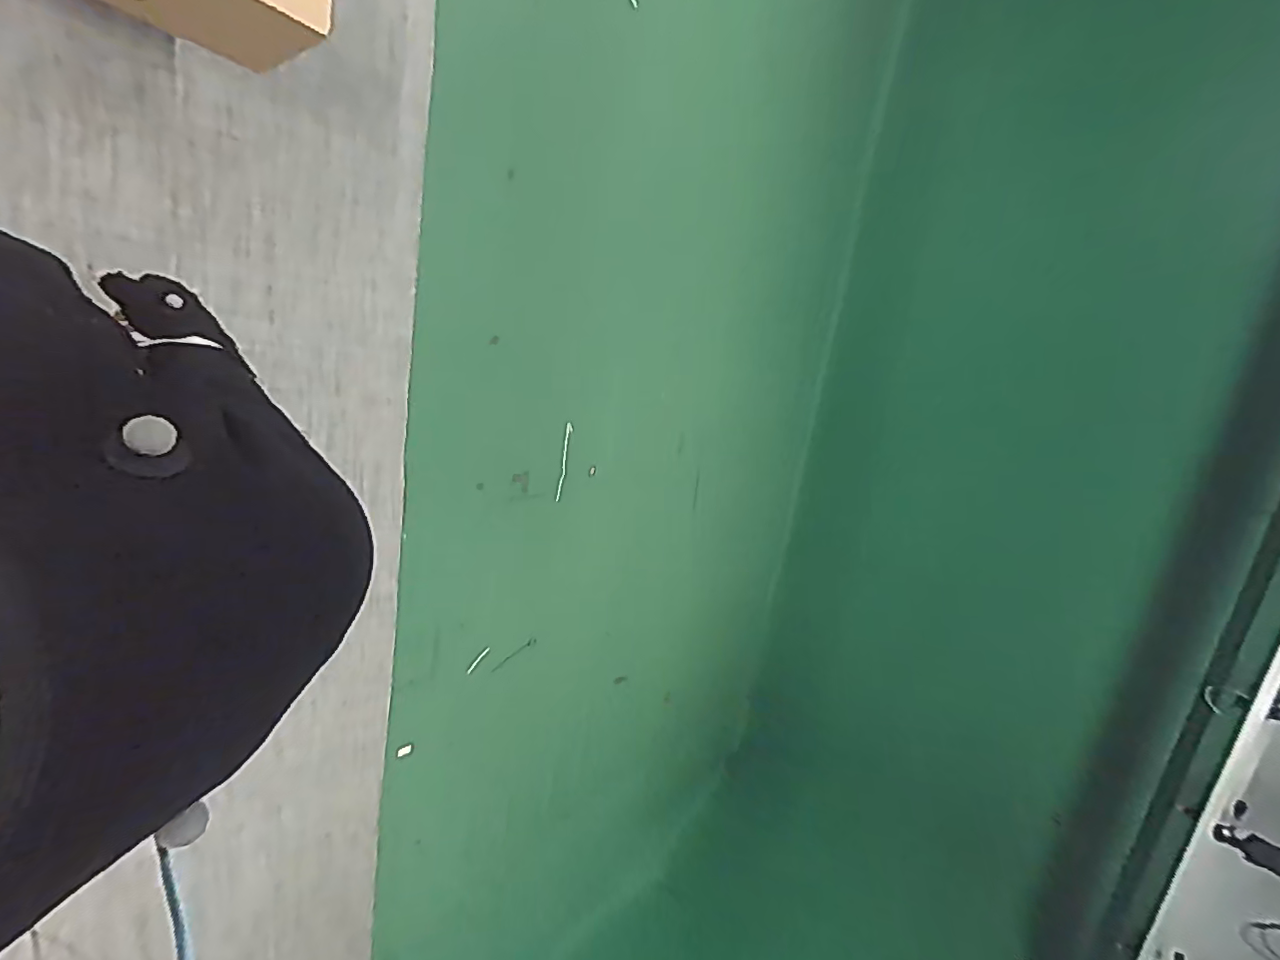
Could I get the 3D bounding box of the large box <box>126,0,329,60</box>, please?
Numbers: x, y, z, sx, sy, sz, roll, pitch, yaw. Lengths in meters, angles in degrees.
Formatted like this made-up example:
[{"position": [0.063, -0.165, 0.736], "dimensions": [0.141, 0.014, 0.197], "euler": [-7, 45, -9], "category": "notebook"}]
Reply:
[{"position": [-0.702, -0.883, 0.756], "dimensions": [0.408, 0.320, 0.320], "euler": [-4, 108, -51], "category": "large box"}]
